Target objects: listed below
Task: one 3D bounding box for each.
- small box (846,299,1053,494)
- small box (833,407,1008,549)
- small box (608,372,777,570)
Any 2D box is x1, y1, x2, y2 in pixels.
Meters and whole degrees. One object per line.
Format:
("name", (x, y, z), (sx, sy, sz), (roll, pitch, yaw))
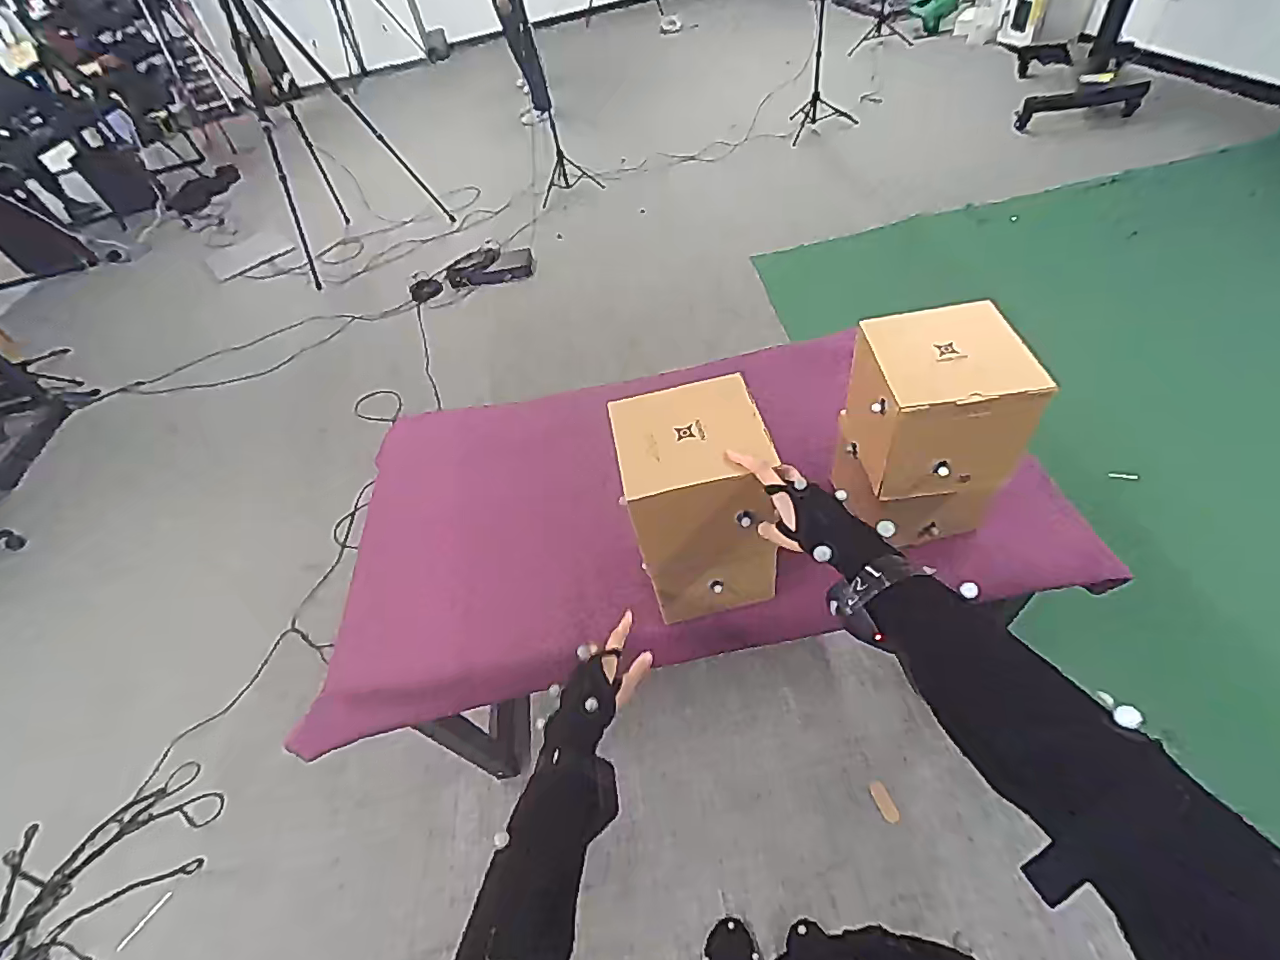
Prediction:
("small box", (0.378, -0.105, 0.704), (0.168, 0.176, 0.179), (-8, 49, 8))
("small box", (0.418, -0.017, 0.837), (0.179, 0.176, 0.168), (-13, 47, 2))
("small box", (0.066, -0.007, 0.692), (0.179, 0.176, 0.168), (-13, 48, 3))
